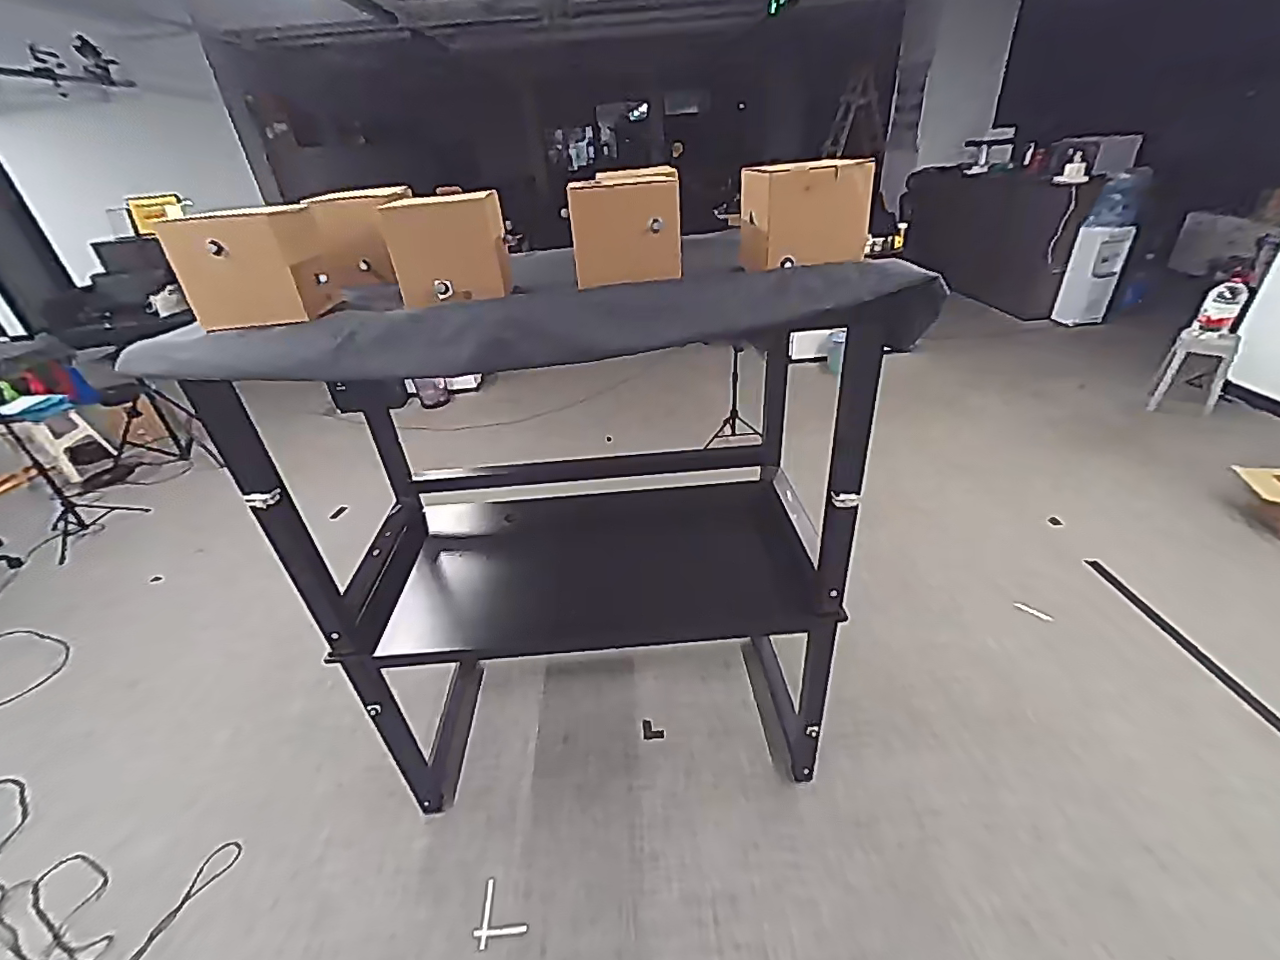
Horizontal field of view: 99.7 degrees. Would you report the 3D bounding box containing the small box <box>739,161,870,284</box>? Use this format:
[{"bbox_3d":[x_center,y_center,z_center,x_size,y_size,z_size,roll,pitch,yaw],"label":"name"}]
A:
[{"bbox_3d":[0.273,-0.441,0.931,0.168,0.176,0.179,-7,31,-2],"label":"small box"}]

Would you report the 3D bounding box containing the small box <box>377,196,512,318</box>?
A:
[{"bbox_3d":[-0.322,-0.386,0.931,0.168,0.176,0.179,-8,31,-3],"label":"small box"}]

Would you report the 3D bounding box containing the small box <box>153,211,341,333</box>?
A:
[{"bbox_3d":[-0.652,-0.356,0.925,0.179,0.176,0.168,-7,31,-4],"label":"small box"}]

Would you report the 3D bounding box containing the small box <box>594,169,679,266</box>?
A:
[{"bbox_3d":[-0.008,-0.573,1.186,0.168,0.176,0.179,-6,32,-1],"label":"small box"}]

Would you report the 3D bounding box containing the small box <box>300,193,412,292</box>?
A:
[{"bbox_3d":[-0.583,-0.515,1.171,0.179,0.176,0.168,-5,32,-3],"label":"small box"}]
